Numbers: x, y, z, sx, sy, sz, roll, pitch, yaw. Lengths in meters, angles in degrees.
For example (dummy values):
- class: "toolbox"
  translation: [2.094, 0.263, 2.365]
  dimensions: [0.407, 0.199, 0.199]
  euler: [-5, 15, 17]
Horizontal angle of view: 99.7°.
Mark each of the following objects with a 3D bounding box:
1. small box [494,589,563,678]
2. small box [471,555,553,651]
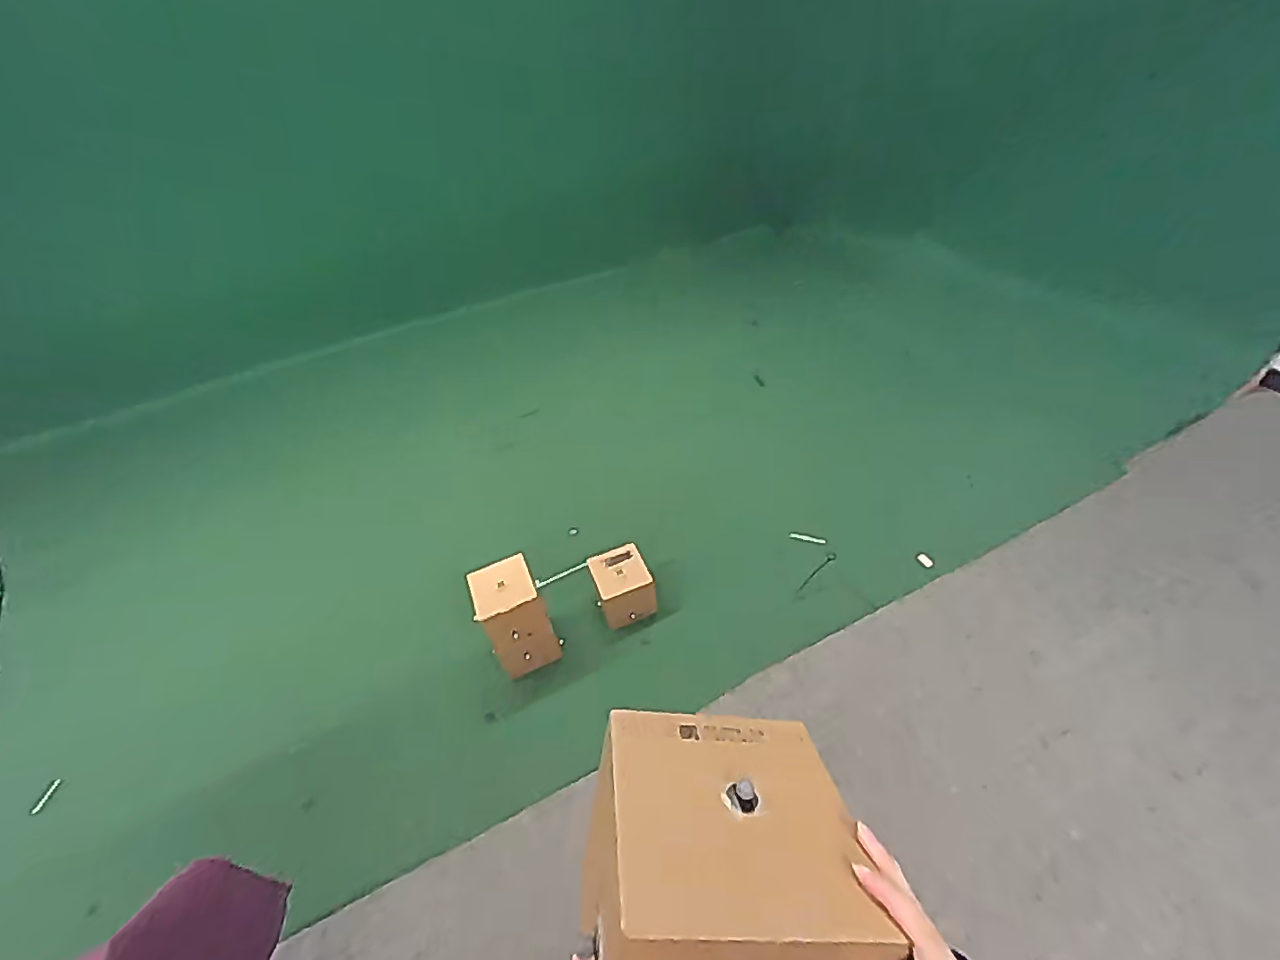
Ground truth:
- class: "small box"
  translation: [-0.348, 0.472, 1.659]
  dimensions: [0.179, 0.176, 0.168]
  euler: [-23, 43, -13]
- class: "small box"
  translation: [-0.365, 0.353, 1.549]
  dimensions: [0.168, 0.176, 0.179]
  euler: [-22, 44, -13]
